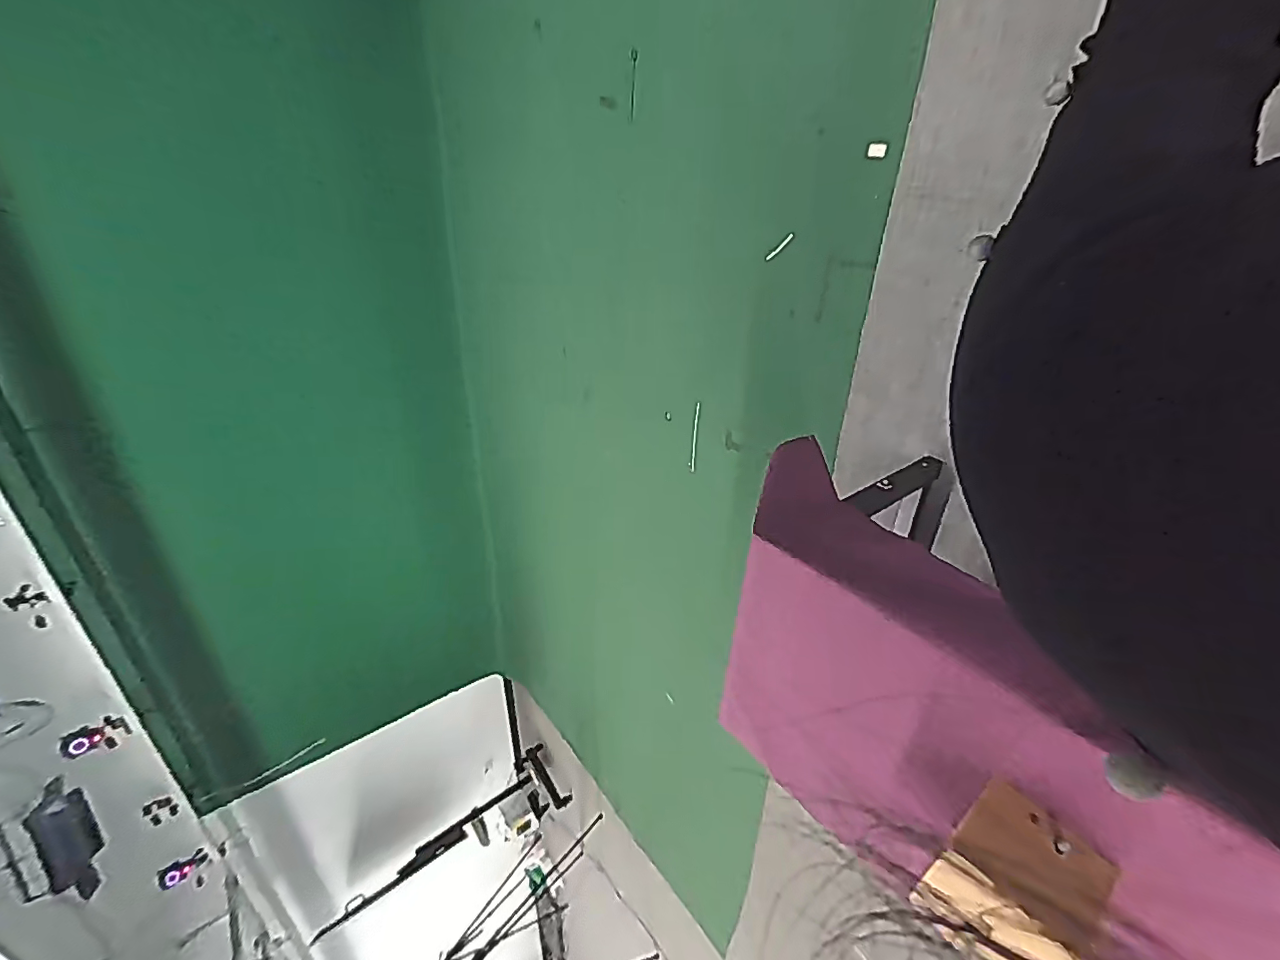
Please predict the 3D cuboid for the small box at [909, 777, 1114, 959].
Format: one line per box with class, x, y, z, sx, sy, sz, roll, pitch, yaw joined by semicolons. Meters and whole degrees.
small box;0.531;0.580;0.779;0.168;0.176;0.179;36;132;40
